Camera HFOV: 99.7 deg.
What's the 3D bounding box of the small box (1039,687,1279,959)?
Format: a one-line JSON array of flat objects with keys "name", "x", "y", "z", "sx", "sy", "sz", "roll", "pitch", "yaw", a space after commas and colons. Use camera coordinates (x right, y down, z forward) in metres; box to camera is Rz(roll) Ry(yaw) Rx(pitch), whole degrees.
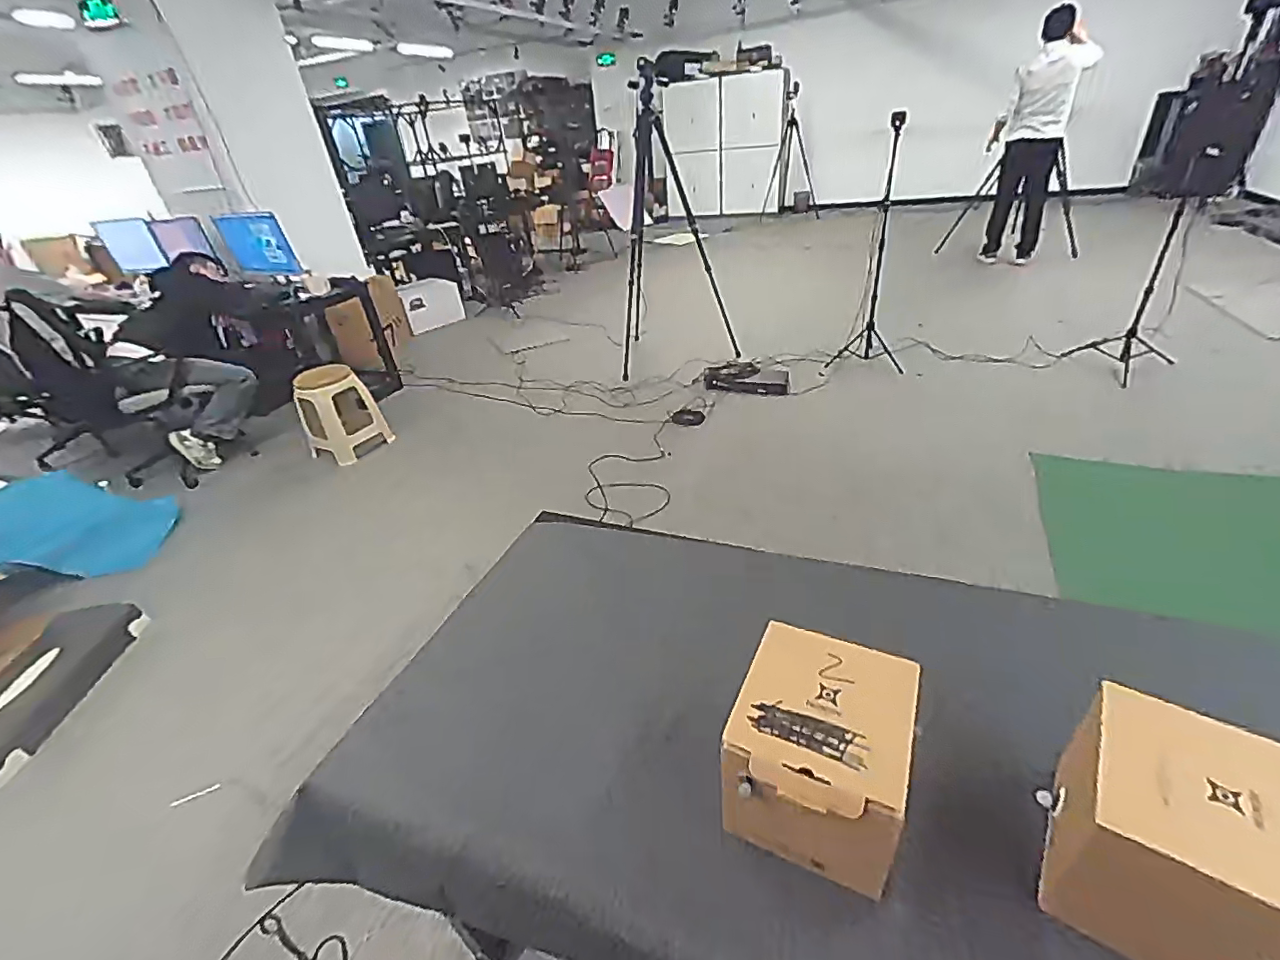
[{"name": "small box", "x": 0.497, "y": 0.335, "z": 0.489, "sx": 0.179, "sy": 0.176, "sz": 0.168, "roll": 17, "pitch": 38, "yaw": 33}]
